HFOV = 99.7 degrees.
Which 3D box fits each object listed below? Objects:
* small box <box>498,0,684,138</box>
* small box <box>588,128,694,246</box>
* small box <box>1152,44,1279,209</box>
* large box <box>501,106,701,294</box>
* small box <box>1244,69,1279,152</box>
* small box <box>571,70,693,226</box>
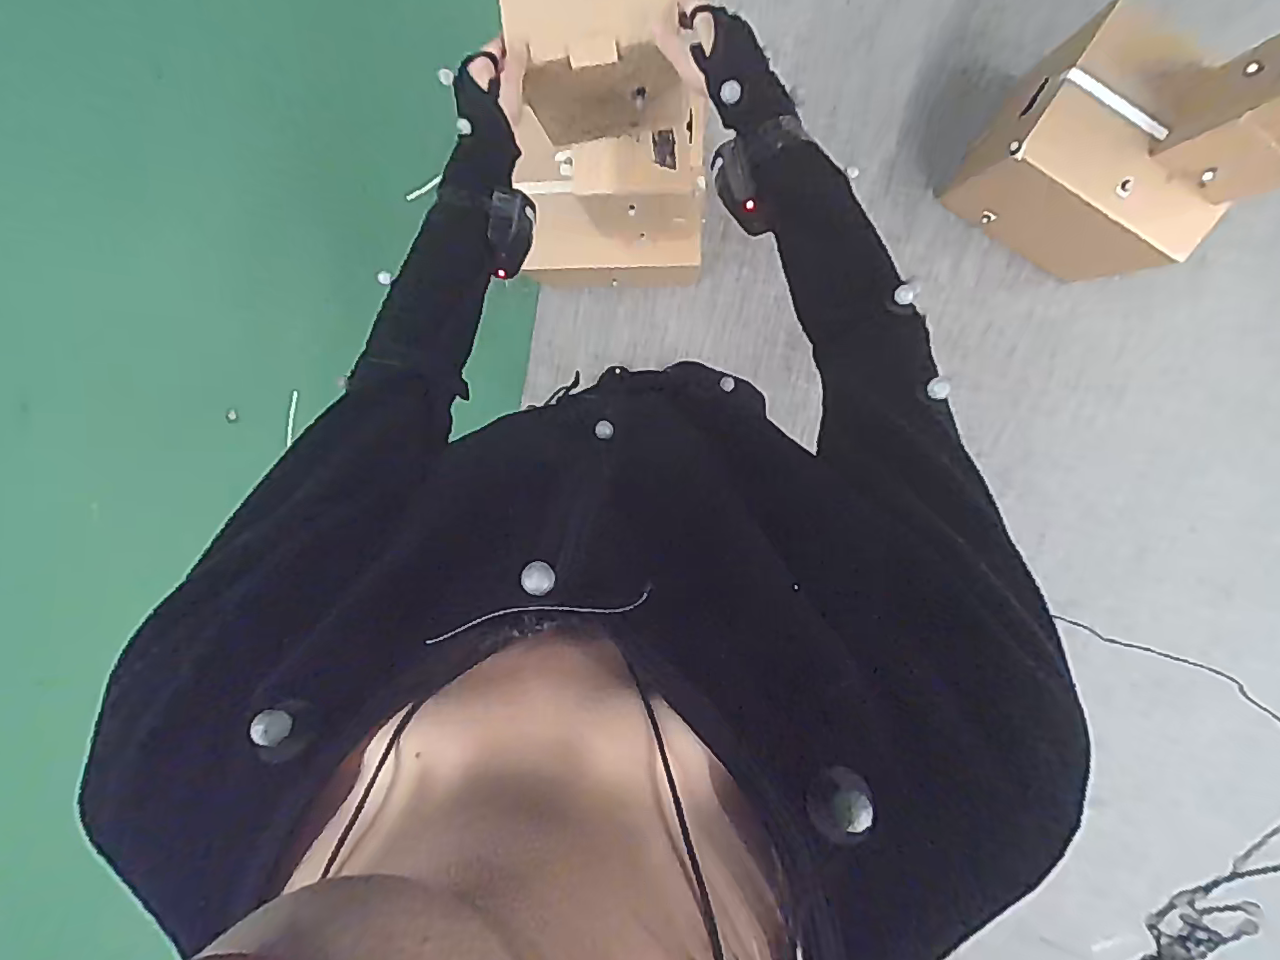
[{"bbox_3d":[-0.043,-0.485,0.562,0.168,0.176,0.179,-5,99,7],"label":"small box"},{"bbox_3d":[0.004,-0.541,1.005,0.179,0.176,0.168,4,102,3],"label":"small box"},{"bbox_3d":[1.058,-0.607,0.925,0.168,0.176,0.179,32,101,-3],"label":"small box"},{"bbox_3d":[-0.065,-0.611,1.246,0.408,0.320,0.320,0,101,5],"label":"large box"},{"bbox_3d":[1.057,-0.571,0.767,0.179,0.176,0.168,33,101,-3],"label":"small box"},{"bbox_3d":[-0.007,-0.504,0.845,0.179,0.176,0.168,0,103,5],"label":"small box"}]
